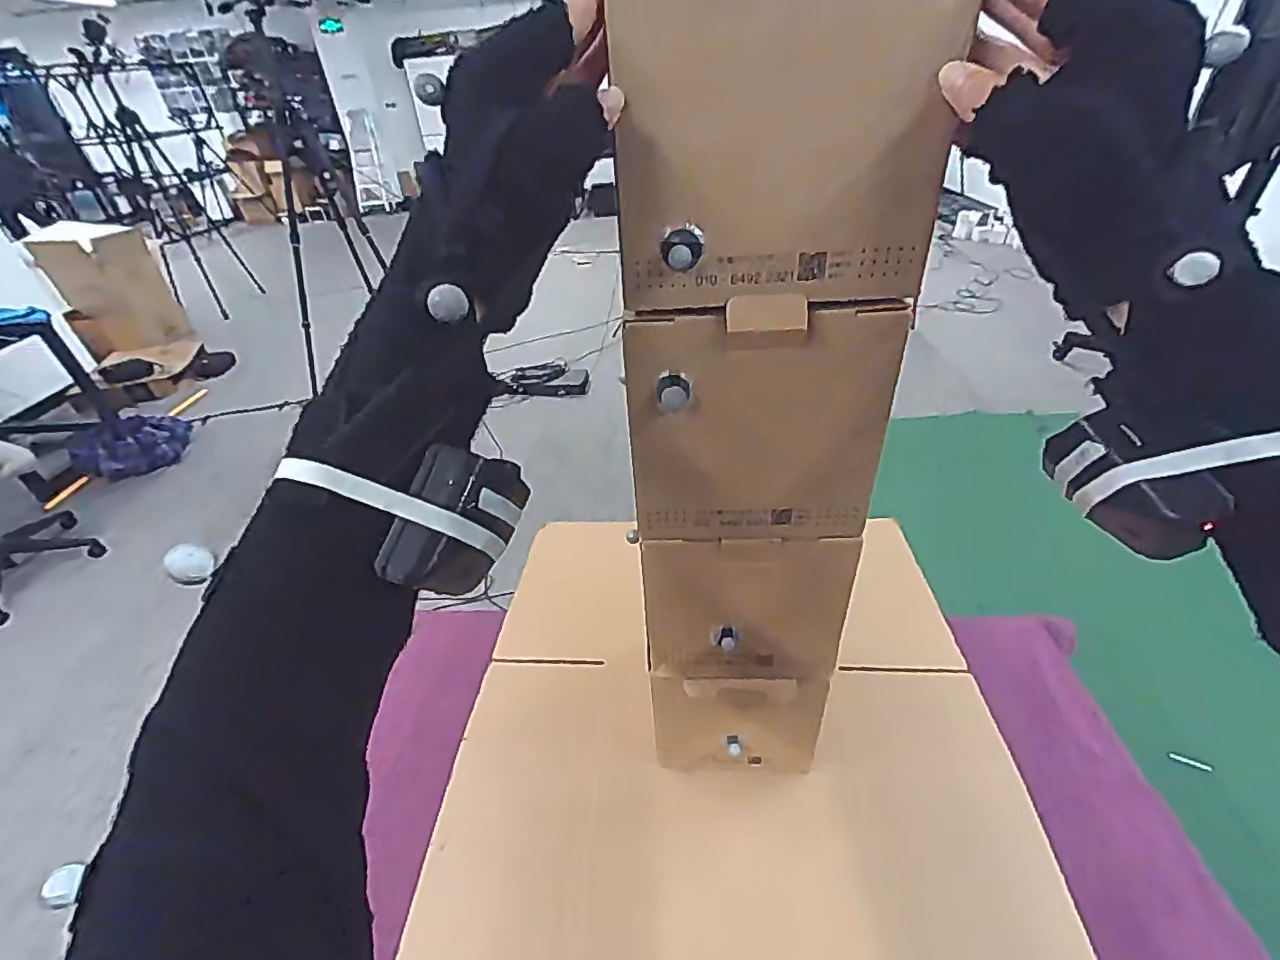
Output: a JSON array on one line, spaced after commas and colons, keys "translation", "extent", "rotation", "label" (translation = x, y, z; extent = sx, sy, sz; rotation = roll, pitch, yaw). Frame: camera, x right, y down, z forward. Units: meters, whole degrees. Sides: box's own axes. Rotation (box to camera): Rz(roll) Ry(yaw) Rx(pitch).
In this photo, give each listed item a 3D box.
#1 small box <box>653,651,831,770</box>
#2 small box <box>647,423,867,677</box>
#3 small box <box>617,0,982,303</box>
[{"translation": [0.103, 0.193, 0.608], "extent": [0.168, 0.176, 0.179], "rotation": [0, 36, 6], "label": "small box"}, {"translation": [0.093, 0.060, 0.514], "extent": [0.168, 0.176, 0.179], "rotation": [-1, 36, 4], "label": "small box"}, {"translation": [0.075, -0.212, 0.327], "extent": [0.168, 0.176, 0.179], "rotation": [-3, 35, 1], "label": "small box"}]
